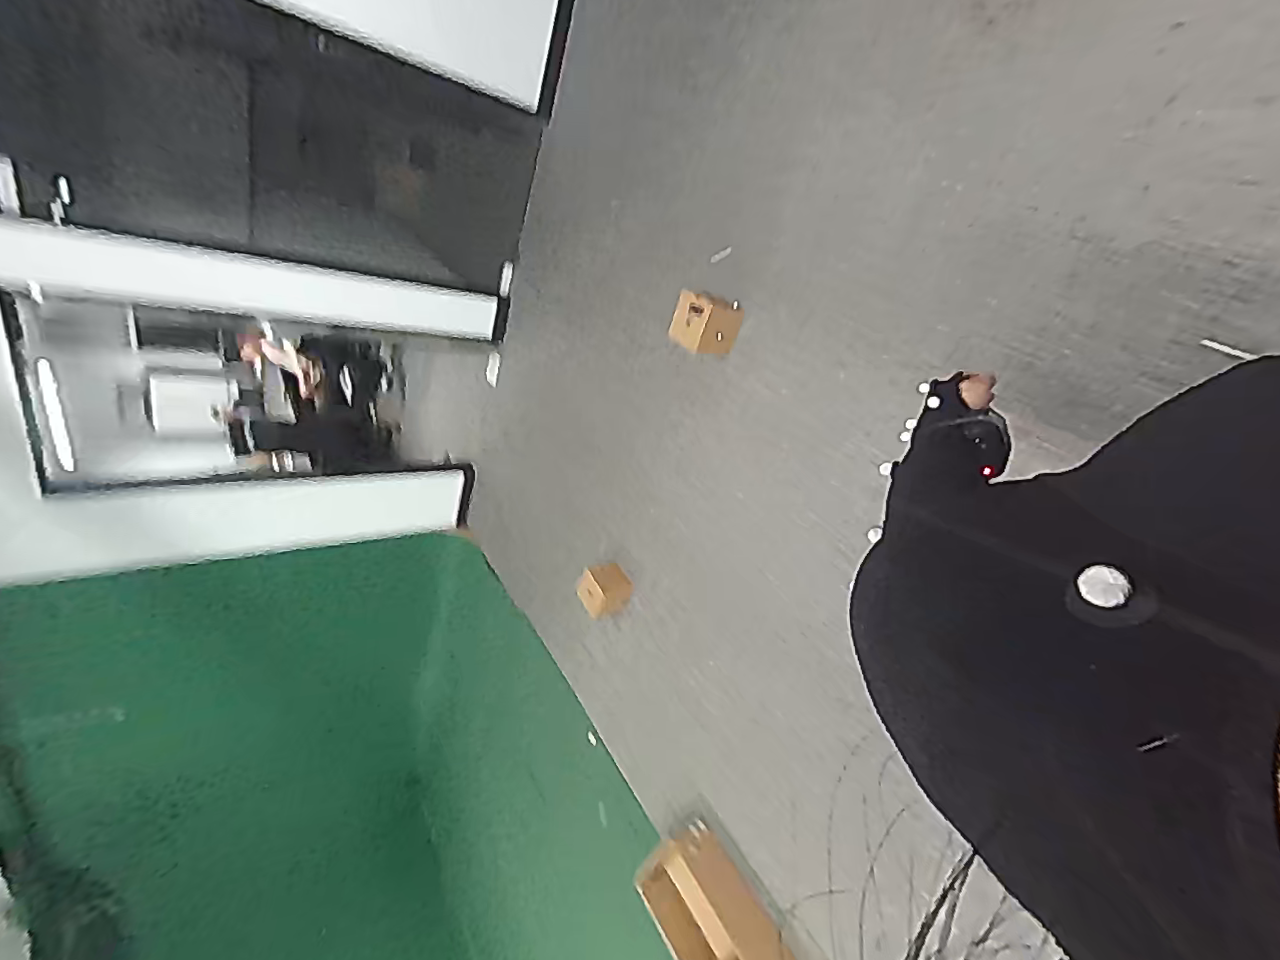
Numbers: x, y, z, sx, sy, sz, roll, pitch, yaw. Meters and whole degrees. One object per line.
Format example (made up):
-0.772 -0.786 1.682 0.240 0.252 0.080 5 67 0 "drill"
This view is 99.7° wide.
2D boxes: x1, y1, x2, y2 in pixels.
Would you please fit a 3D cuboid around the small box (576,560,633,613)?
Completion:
-0.163 0.487 2.507 0.179 0.176 0.168 50 129 34 "small box"

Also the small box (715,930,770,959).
0.358 1.769 1.925 0.168 0.176 0.179 43 123 38 "small box"

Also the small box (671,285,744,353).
0.245 -0.571 1.933 0.168 0.176 0.179 46 127 37 "small box"
